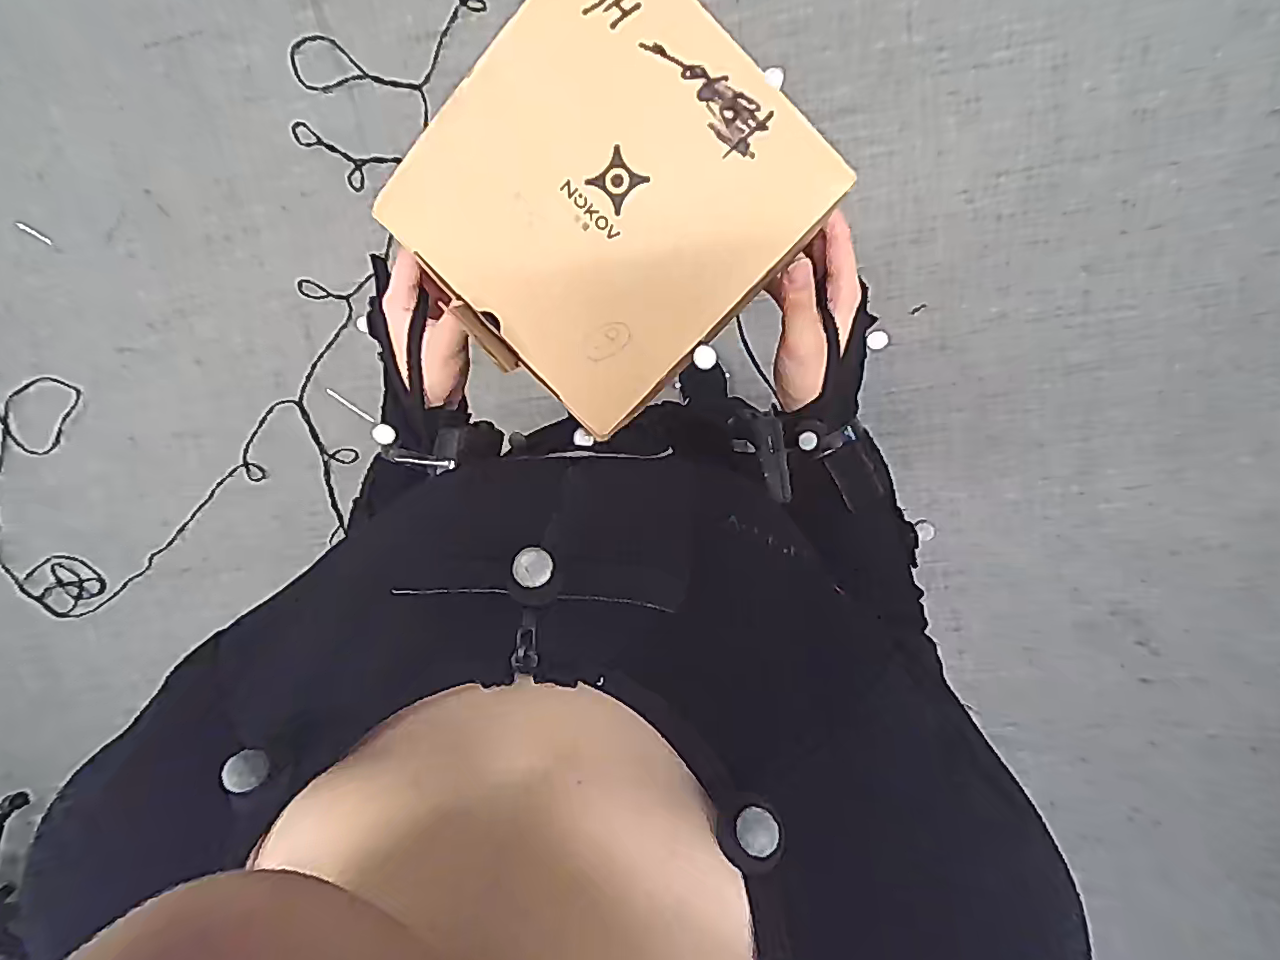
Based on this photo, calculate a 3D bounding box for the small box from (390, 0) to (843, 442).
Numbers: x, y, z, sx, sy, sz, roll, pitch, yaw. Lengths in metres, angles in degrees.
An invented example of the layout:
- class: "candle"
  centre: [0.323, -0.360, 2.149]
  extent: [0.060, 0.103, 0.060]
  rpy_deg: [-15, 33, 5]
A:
- class: "small box"
  centre: [-0.008, -0.148, 0.348]
  extent: [0.168, 0.176, 0.179]
  rpy_deg: [44, 101, -3]
